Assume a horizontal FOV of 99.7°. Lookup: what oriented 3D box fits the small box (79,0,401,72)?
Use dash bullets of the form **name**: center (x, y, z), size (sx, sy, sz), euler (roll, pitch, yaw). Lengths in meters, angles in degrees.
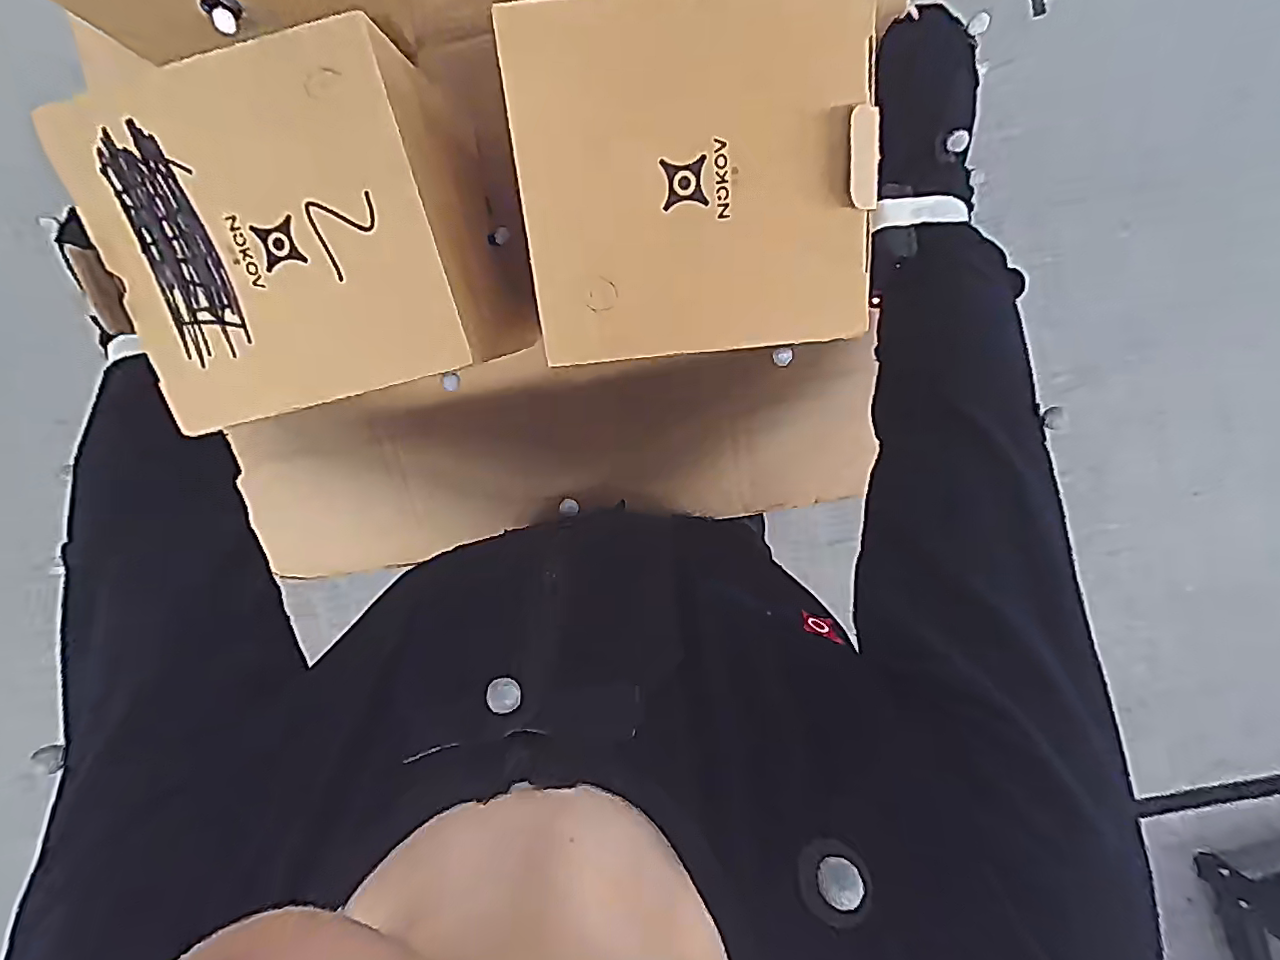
- **small box**: center (-0.265, -0.374, 0.308), size (0.168, 0.176, 0.179), euler (-10, 99, 4)
